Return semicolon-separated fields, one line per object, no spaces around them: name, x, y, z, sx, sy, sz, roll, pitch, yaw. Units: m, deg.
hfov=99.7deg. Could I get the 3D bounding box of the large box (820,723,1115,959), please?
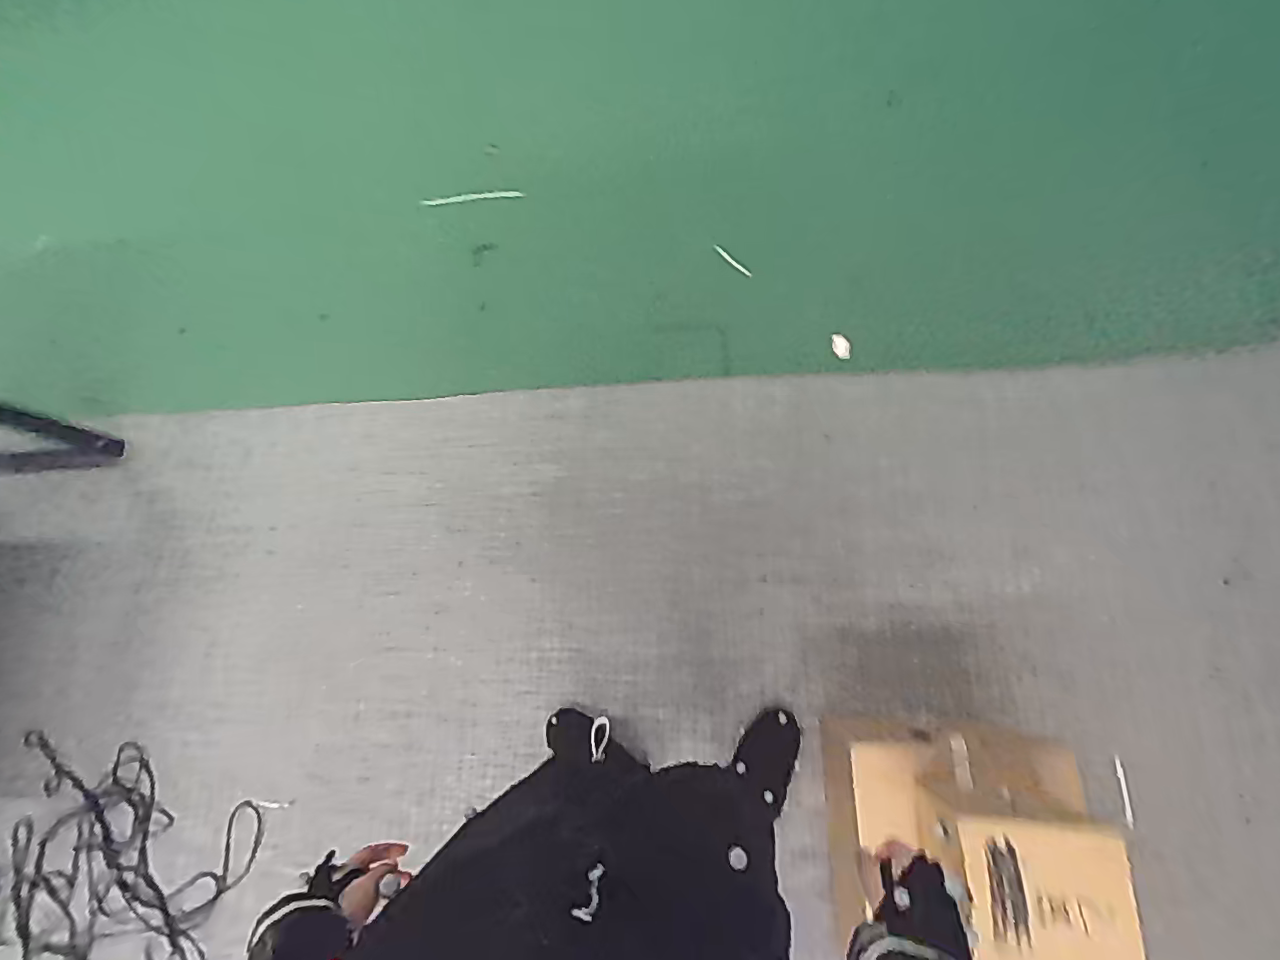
large box;0.495;0.635;0.884;0.320;0.320;0.408;-3;74;10
